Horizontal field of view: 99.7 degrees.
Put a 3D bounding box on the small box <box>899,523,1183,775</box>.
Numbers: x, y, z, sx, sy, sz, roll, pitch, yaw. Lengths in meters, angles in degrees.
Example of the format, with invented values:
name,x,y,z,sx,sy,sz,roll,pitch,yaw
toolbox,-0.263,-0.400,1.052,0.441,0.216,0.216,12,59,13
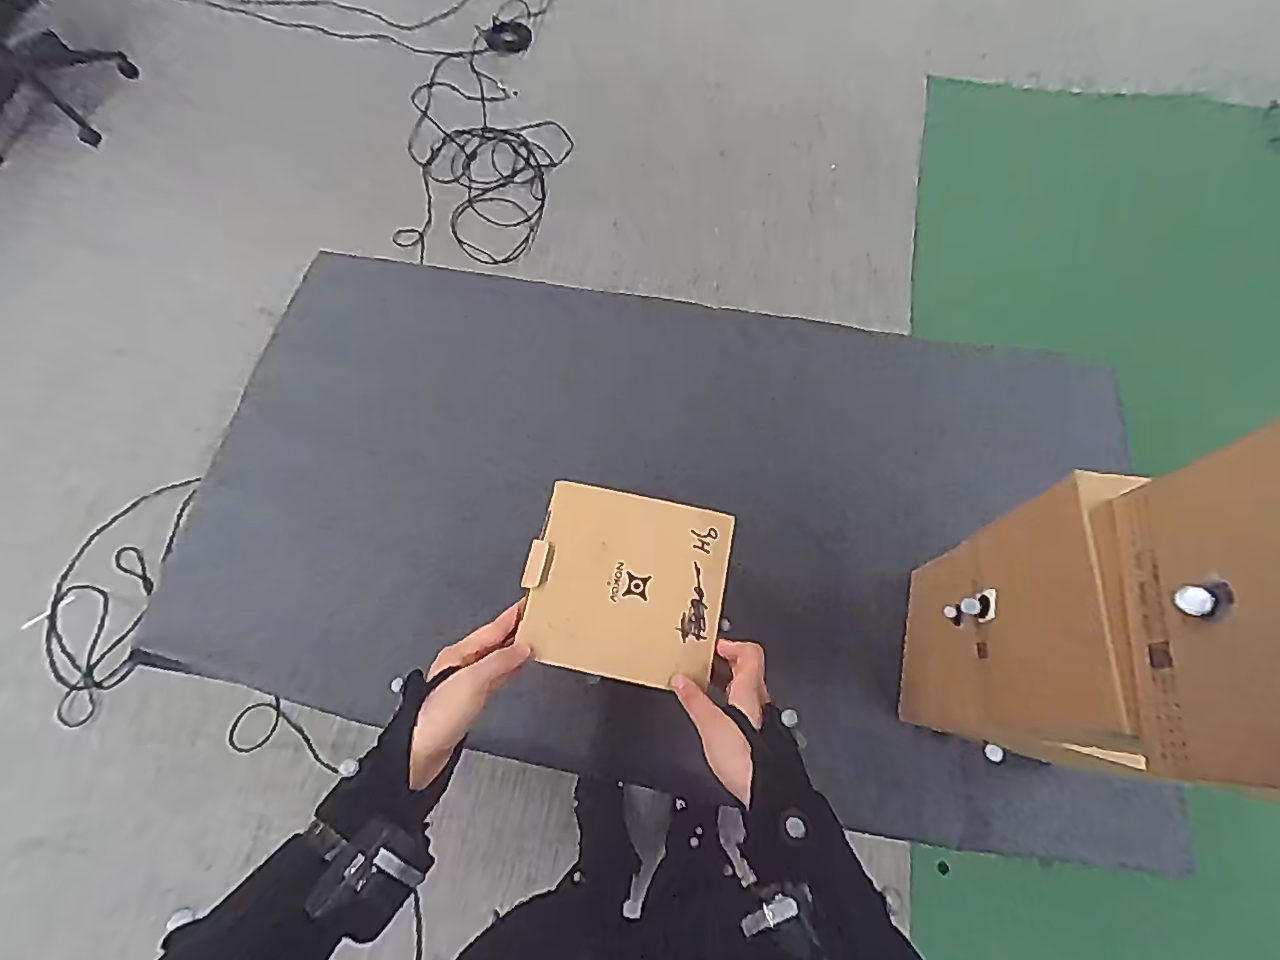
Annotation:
name,x,y,z,sx,sy,sz,roll,pitch,yaw
small box,0.379,0.166,0.541,0.168,0.176,0.179,14,70,8

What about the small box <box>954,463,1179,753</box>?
name,x,y,z,sx,sy,sz,roll,pitch,yaw
small box,0.362,0.104,0.392,0.179,0.176,0.168,6,66,7

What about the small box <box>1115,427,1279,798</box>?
name,x,y,z,sx,sy,sz,roll,pitch,yaw
small box,0.364,0.062,0.230,0.179,0.176,0.168,11,67,7
